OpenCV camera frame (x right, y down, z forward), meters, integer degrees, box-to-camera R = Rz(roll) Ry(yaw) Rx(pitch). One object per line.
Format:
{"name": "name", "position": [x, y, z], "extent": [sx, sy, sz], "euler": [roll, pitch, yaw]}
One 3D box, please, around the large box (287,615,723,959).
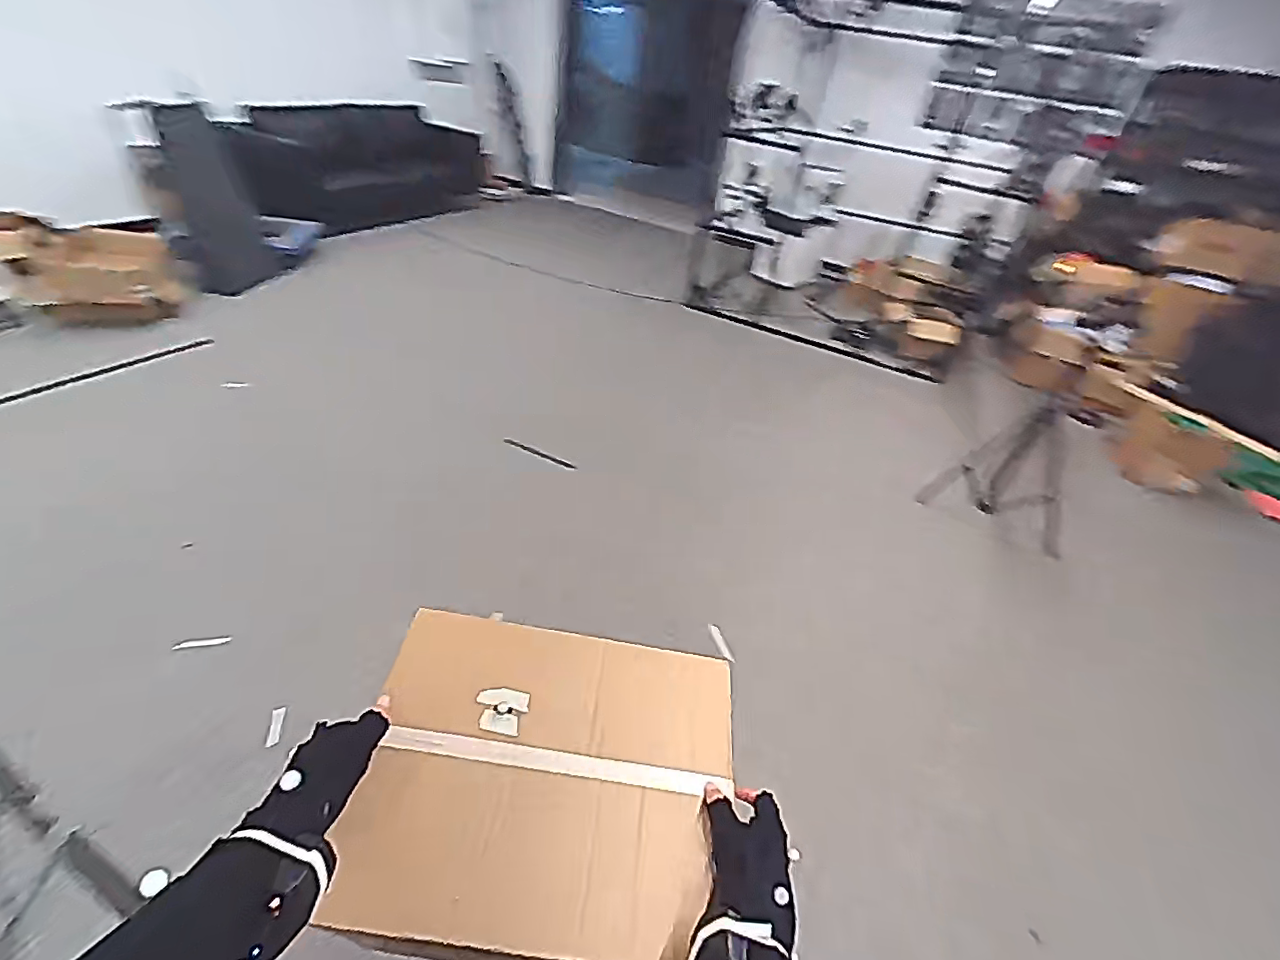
{"name": "large box", "position": [-0.129, 0.411, 0.699], "extent": [0.408, 0.320, 0.320], "euler": [9, 44, -3]}
